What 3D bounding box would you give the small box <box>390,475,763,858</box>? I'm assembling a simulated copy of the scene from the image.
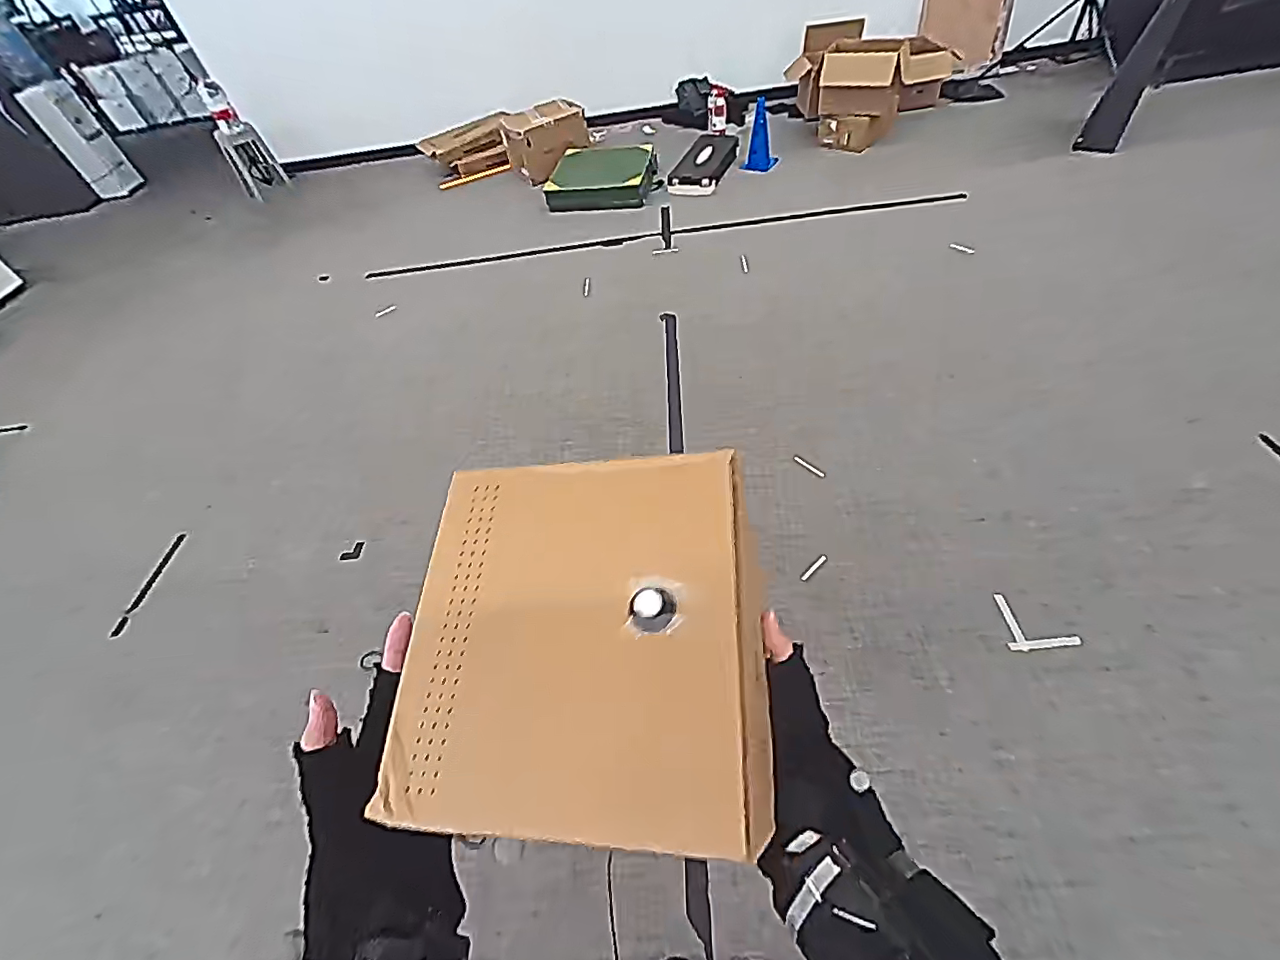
[{"bbox_3d":[-0.020,0.116,0.333,0.176,0.168,0.179,-5,59,15],"label":"small box"}]
